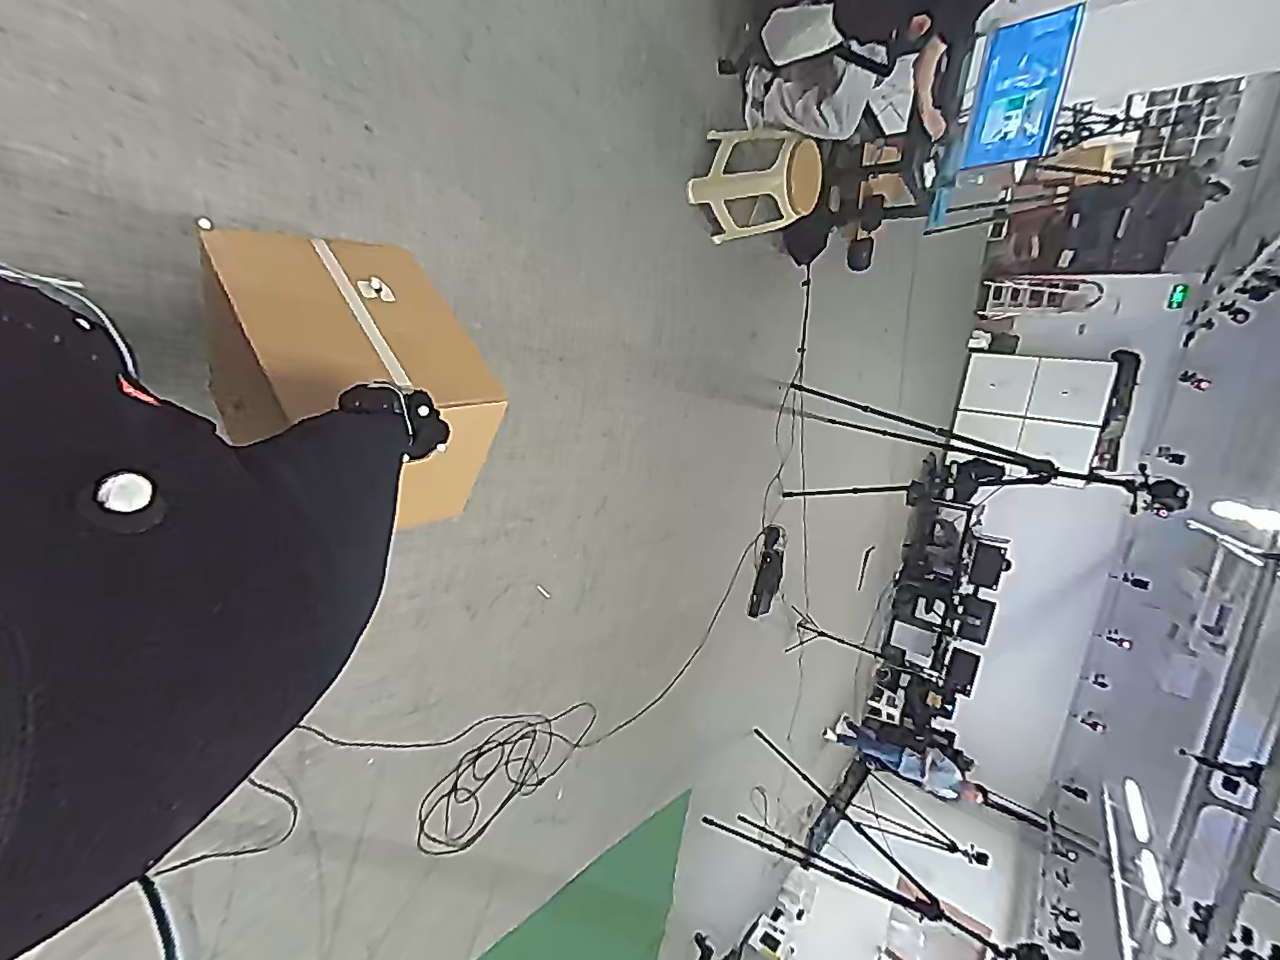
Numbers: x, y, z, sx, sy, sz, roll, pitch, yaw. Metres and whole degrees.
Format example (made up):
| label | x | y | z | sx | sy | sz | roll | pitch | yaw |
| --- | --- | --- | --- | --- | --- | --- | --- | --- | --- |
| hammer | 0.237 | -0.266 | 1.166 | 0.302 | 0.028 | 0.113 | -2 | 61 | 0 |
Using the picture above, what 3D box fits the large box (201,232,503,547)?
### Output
| label | x | y | z | sx | sy | sz | roll | pitch | yaw |
| --- | --- | --- | --- | --- | --- | --- | --- | --- | --- |
| large box | -0.503 | -0.159 | 0.938 | 0.320 | 0.408 | 0.320 | -16 | 151 | -45 |
